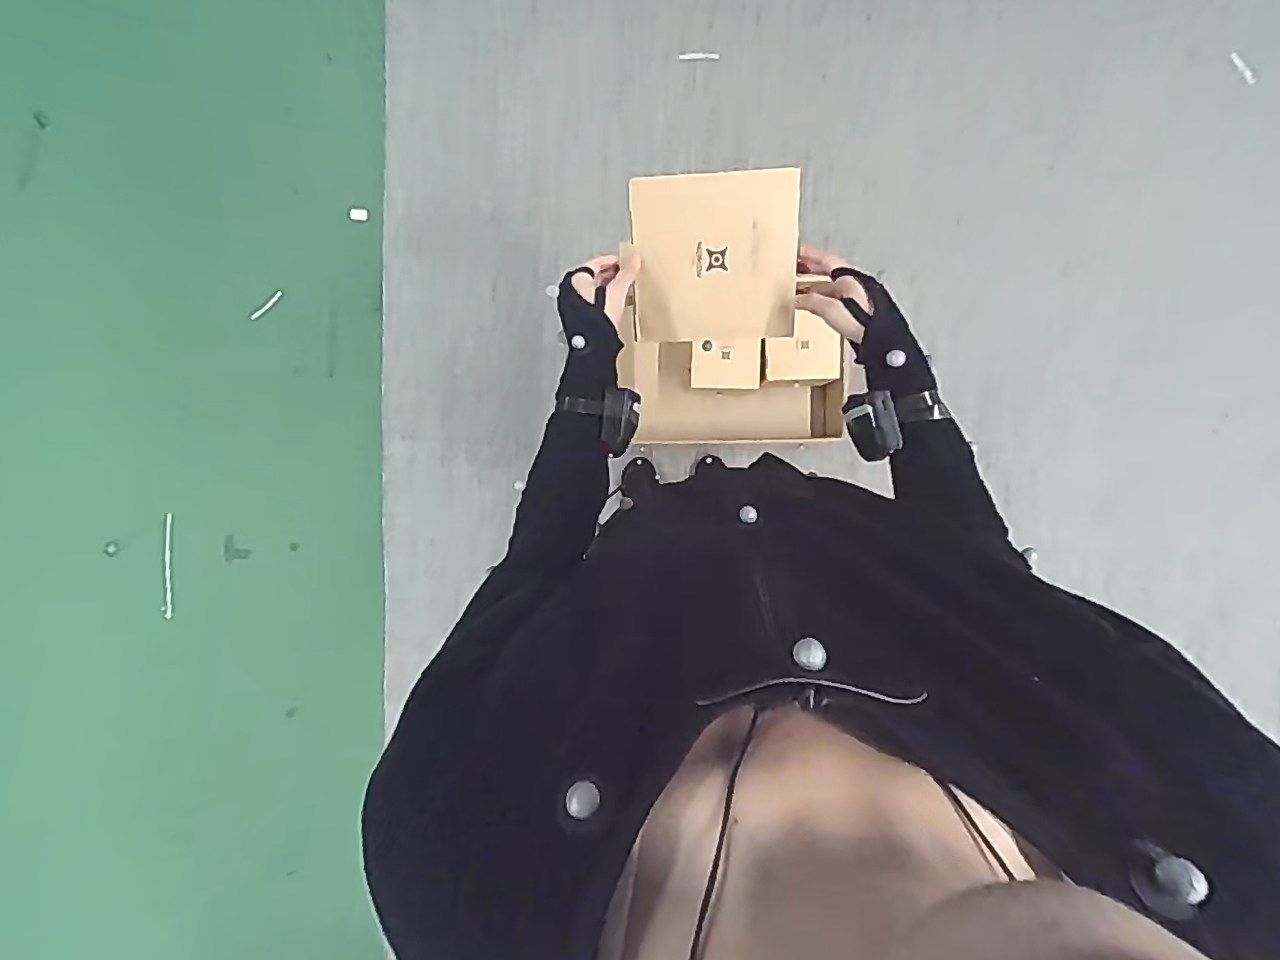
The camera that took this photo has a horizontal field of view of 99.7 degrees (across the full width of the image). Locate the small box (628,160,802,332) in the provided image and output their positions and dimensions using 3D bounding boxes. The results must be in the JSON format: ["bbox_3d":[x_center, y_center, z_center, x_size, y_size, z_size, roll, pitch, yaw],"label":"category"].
[{"bbox_3d":[0.083,-0.263,0.641,0.179,0.176,0.168,-1,108,4],"label":"small box"}]
